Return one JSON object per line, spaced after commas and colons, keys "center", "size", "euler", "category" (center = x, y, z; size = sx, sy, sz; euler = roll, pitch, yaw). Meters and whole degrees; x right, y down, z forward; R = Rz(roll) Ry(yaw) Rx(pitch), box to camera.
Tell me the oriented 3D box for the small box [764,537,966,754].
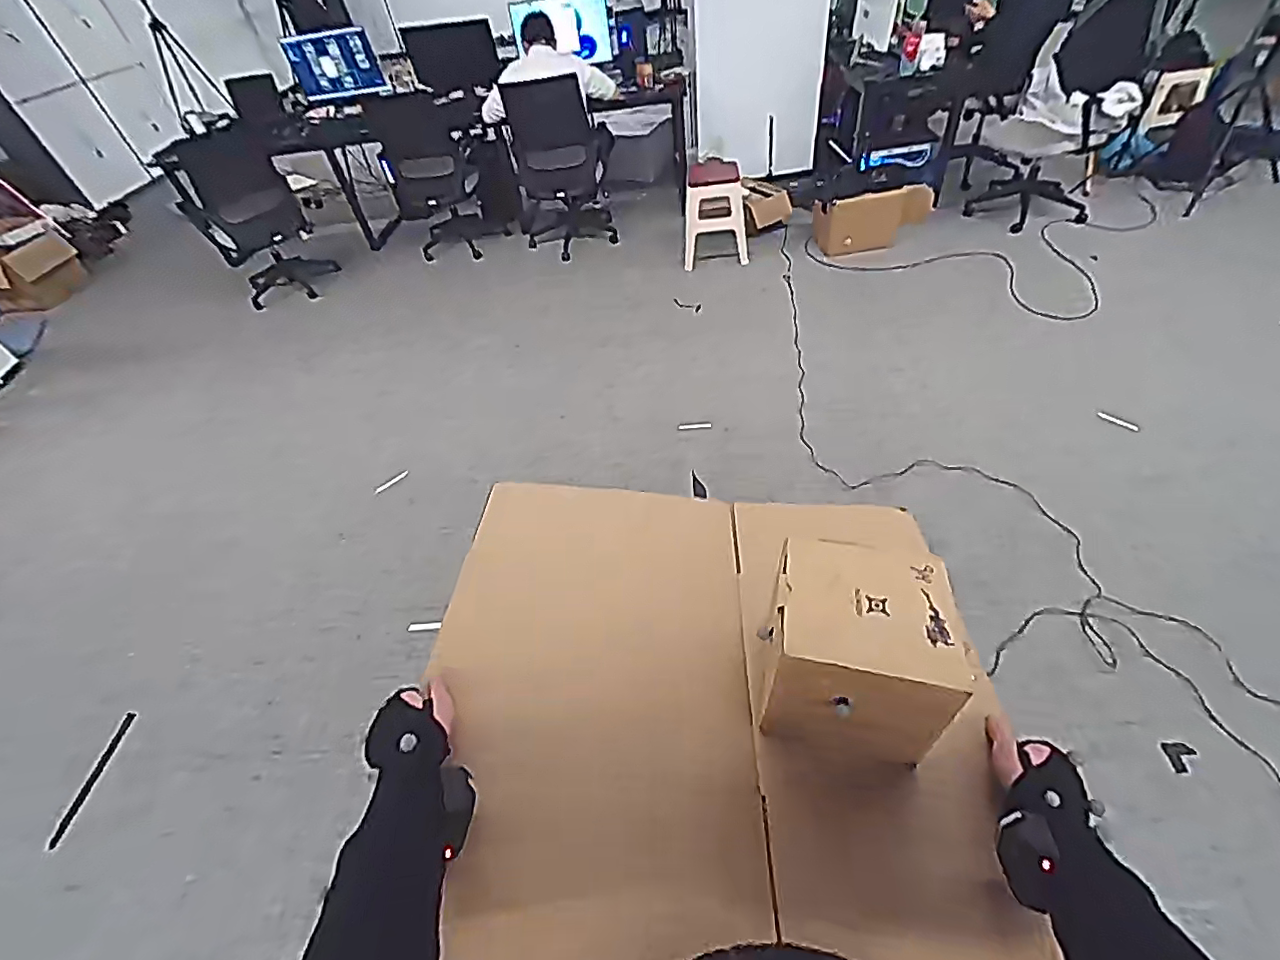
{"center": [0.243, 0.192, 0.630], "size": [0.179, 0.176, 0.168], "euler": [8, 43, 12], "category": "small box"}
